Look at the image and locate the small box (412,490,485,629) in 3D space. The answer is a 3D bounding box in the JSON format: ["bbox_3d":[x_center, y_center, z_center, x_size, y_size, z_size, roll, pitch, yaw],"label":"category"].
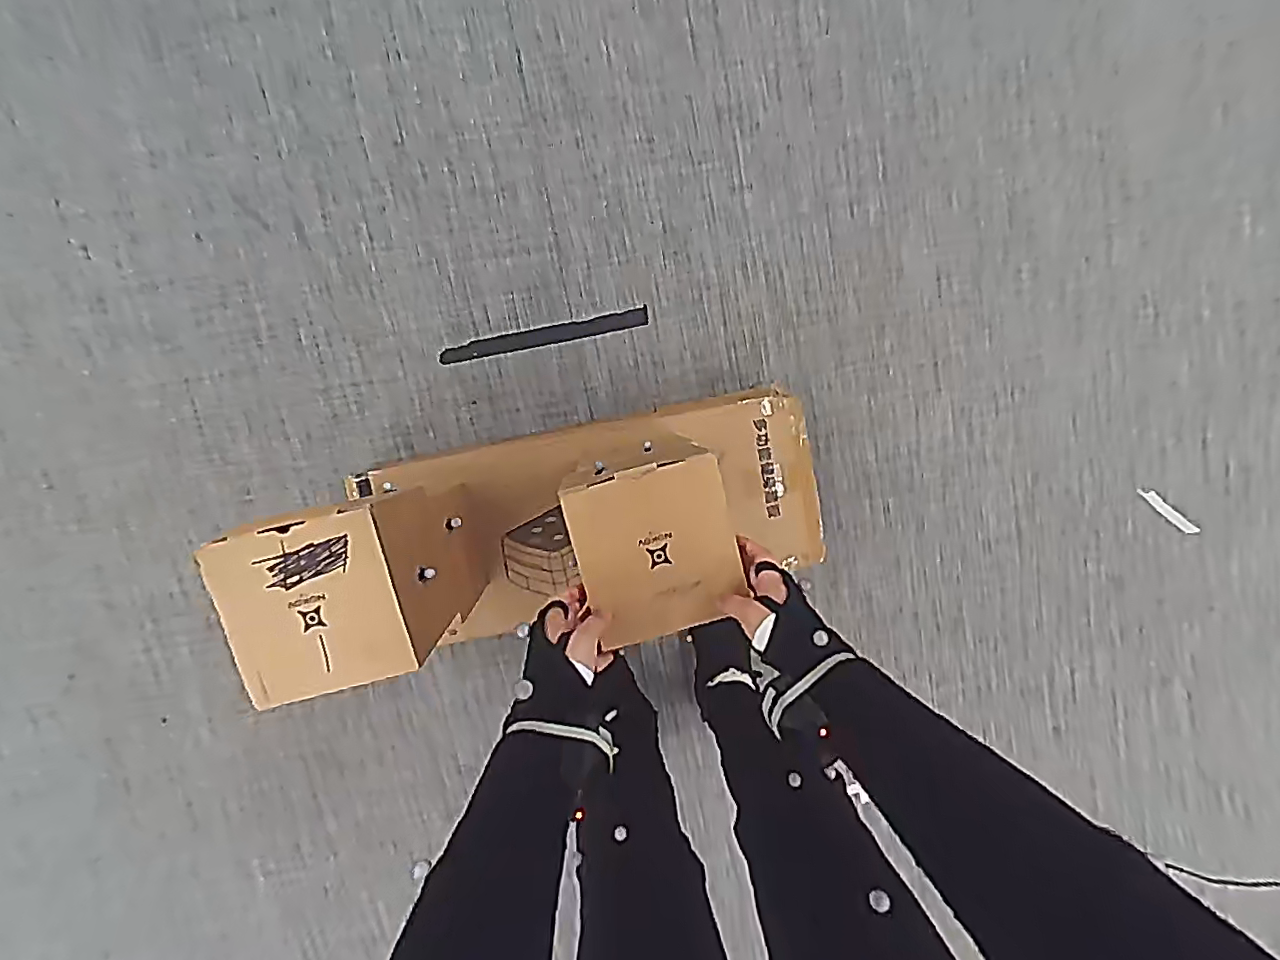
[{"bbox_3d":[-0.334,0.115,0.774,0.168,0.176,0.179,-12,98,-3],"label":"small box"}]

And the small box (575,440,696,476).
[{"bbox_3d":[0.007,0.046,0.796,0.168,0.176,0.179,-14,98,-3],"label":"small box"}]

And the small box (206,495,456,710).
[{"bbox_3d":[-0.325,0.119,0.609,0.168,0.176,0.179,-13,98,-4],"label":"small box"}]

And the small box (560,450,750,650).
[{"bbox_3d":[0.011,0.066,0.634,0.168,0.176,0.179,-16,98,-2],"label":"small box"}]
